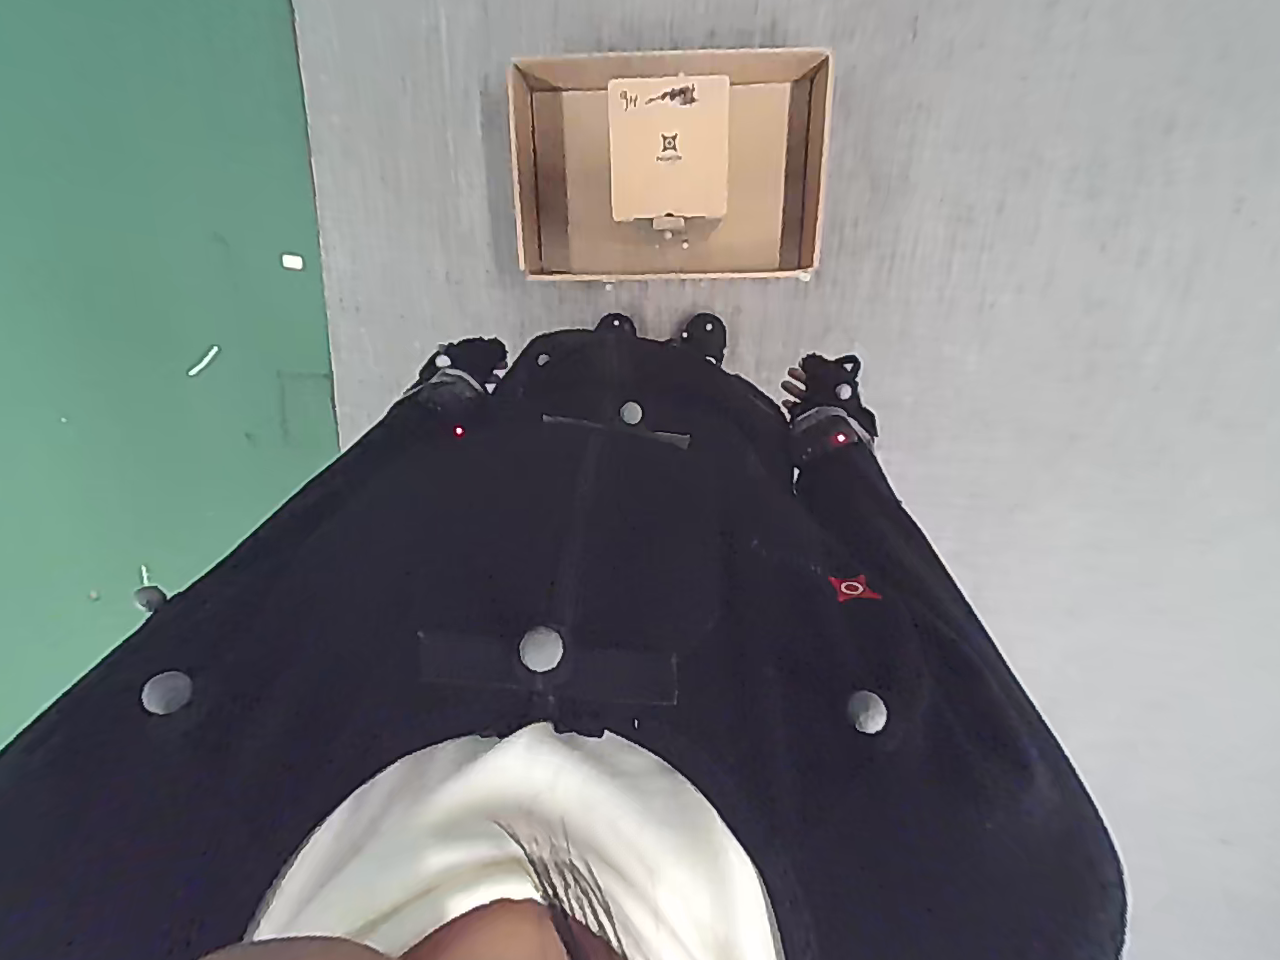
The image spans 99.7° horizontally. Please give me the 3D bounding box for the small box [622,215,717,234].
[{"bbox_3d":[0.051,-0.542,0.965,0.168,0.176,0.179,-3,109,4],"label":"small box"}]

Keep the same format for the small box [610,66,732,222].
[{"bbox_3d":[0.046,-0.496,0.825,0.168,0.176,0.179,0,109,2],"label":"small box"}]
